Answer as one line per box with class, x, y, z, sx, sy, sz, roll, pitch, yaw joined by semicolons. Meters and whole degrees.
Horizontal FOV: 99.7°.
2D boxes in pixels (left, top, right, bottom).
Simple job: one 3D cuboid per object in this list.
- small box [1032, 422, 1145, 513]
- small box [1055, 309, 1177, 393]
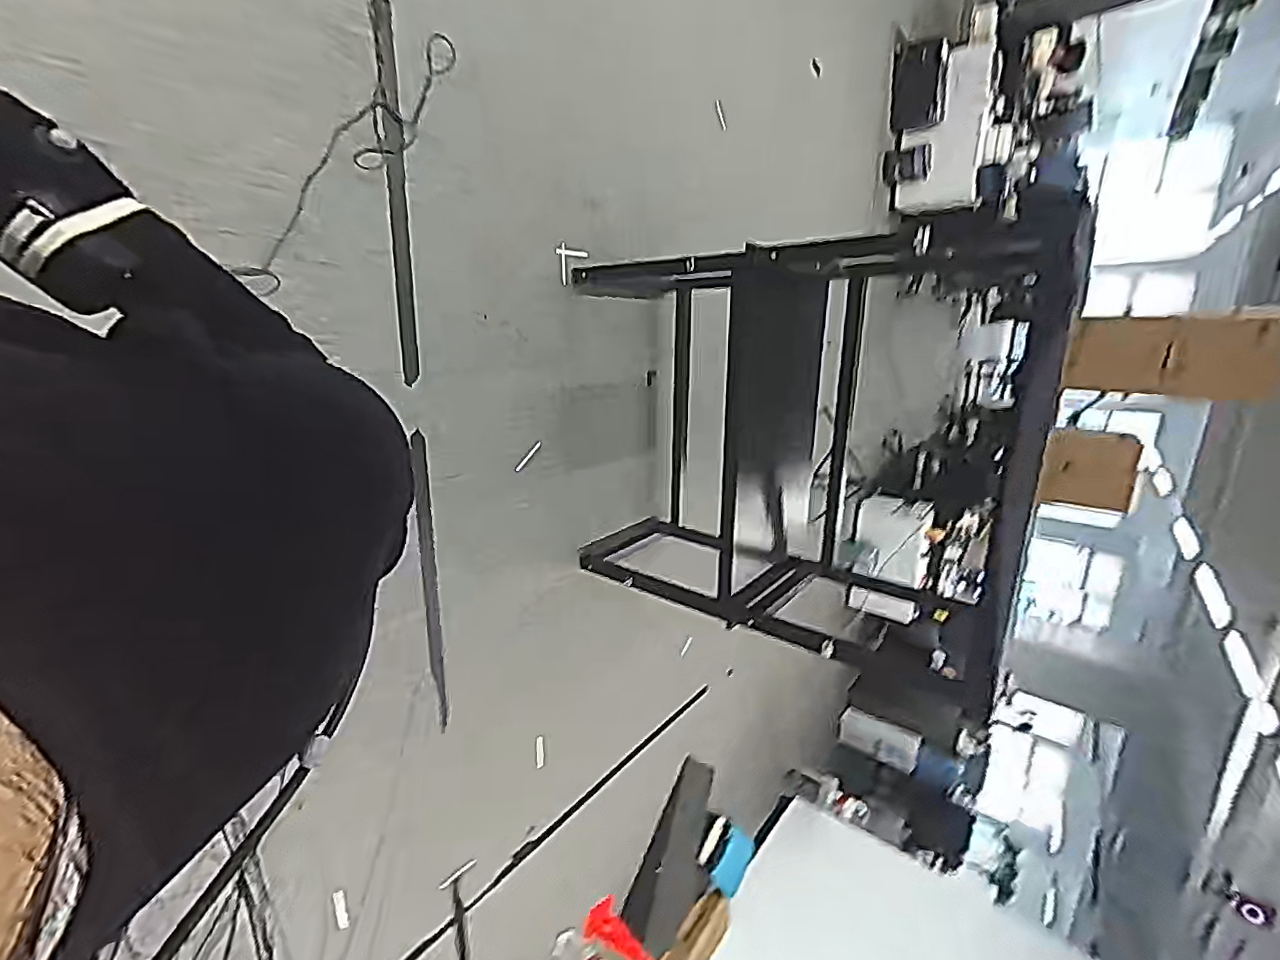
small box;1.023;-0.038;1.246;0.179;0.176;0.168;-20;115;-50
small box;1.020;-0.283;1.172;0.179;0.176;0.168;-23;118;-49
